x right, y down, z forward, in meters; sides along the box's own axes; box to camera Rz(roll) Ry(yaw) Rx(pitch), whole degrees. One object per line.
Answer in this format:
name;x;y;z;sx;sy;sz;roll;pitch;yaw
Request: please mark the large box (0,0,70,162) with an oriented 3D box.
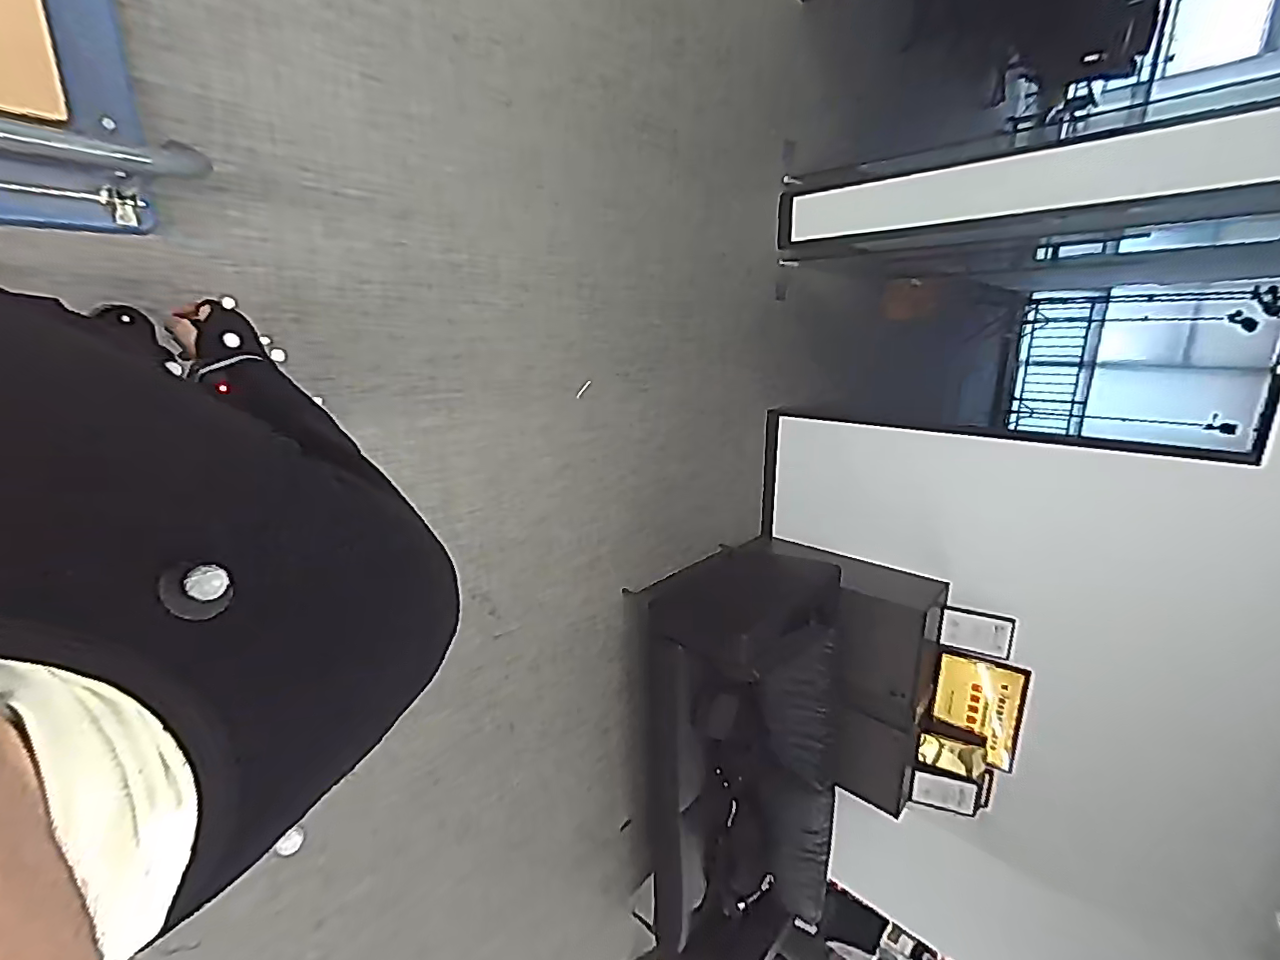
large box;-1.031;-0.700;0.713;0.320;0.320;0.408;-16;111;-46
